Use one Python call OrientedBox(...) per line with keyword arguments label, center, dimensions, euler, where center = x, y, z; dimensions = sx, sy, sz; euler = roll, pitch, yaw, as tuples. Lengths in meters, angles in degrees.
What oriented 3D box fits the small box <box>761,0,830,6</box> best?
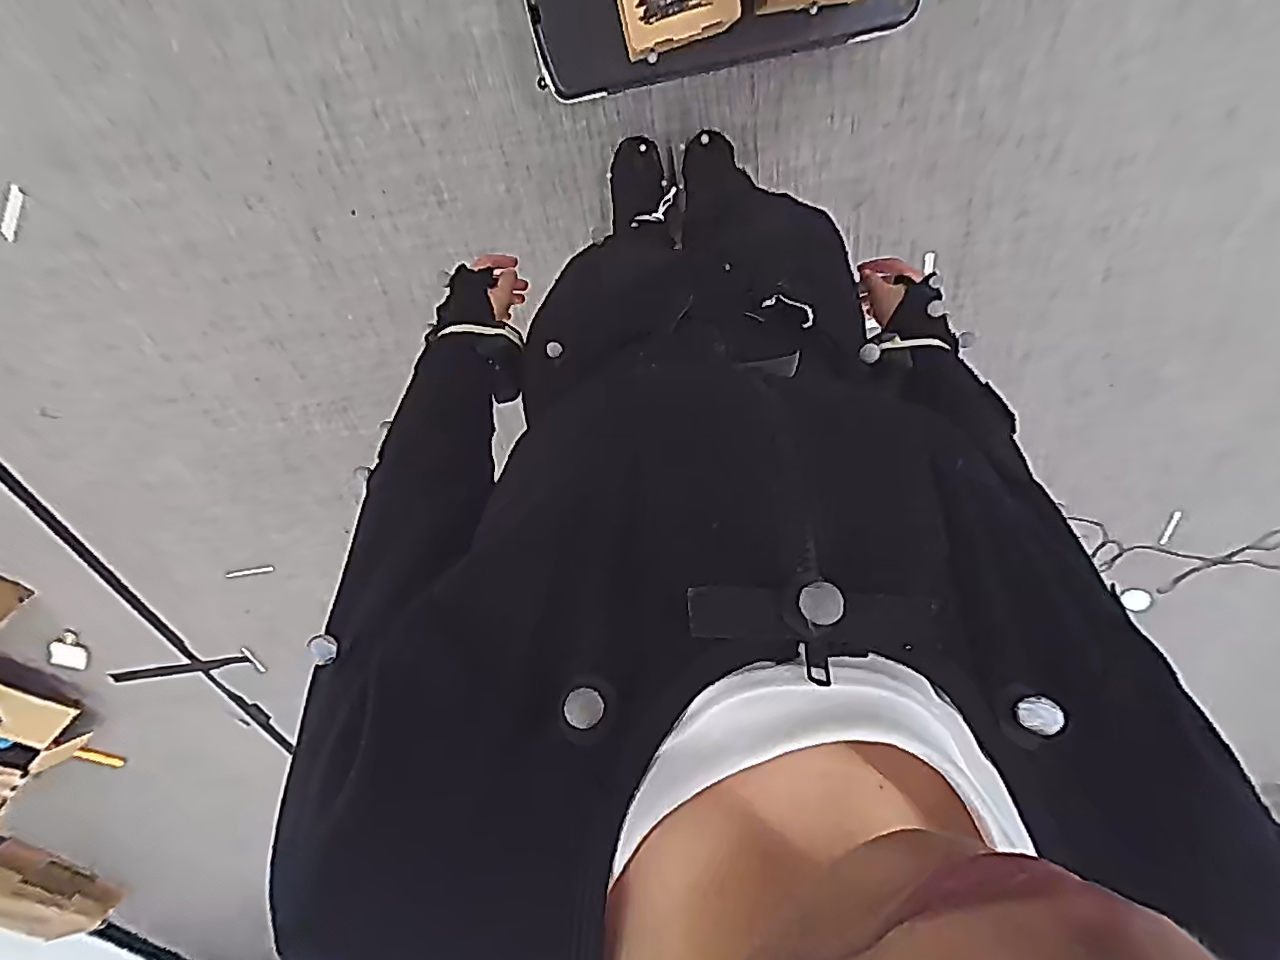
OrientedBox(label="small box", center=(0.266, -0.817, 0.787), dimensions=(0.168, 0.176, 0.179), euler=(-6, 125, 1))
